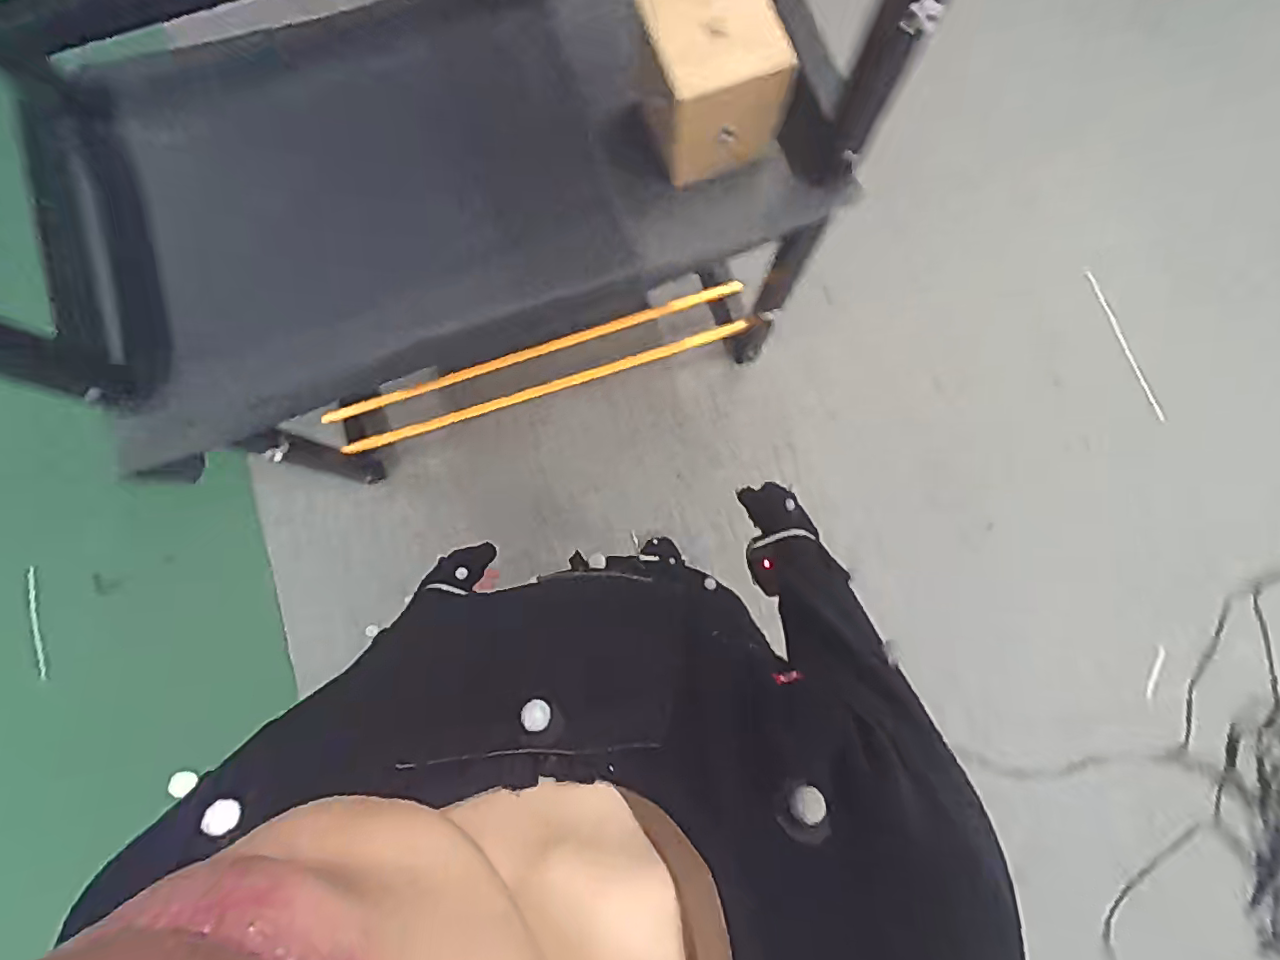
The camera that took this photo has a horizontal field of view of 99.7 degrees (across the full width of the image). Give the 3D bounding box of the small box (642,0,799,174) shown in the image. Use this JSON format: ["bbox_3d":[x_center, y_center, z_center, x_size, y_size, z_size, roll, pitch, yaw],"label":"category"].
[{"bbox_3d":[0.109,-0.588,0.796,0.168,0.176,0.179,-19,81,-2],"label":"small box"}]
